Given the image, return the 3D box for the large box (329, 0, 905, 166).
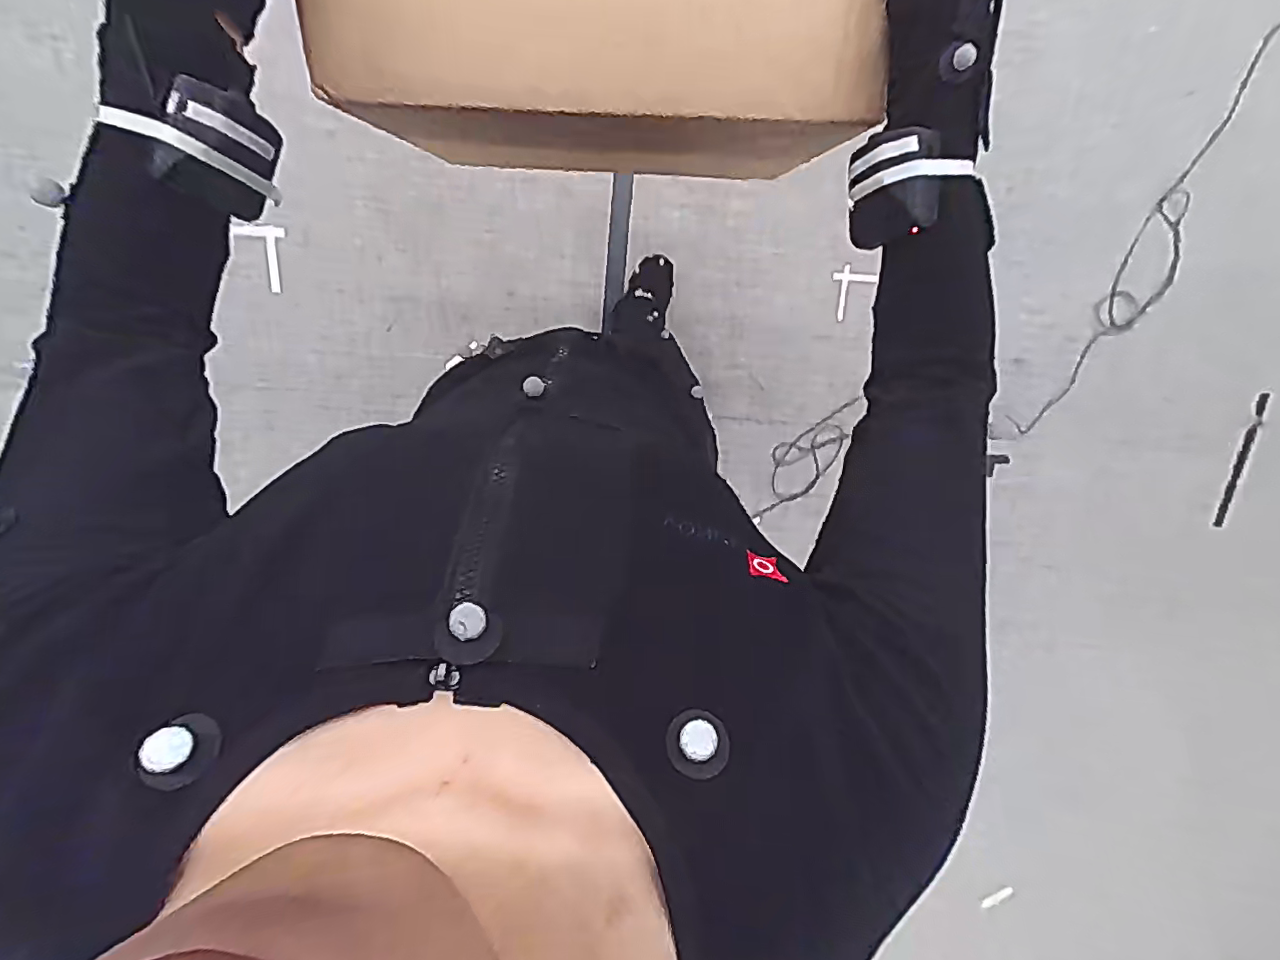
[{"bbox_3d":[-0.018,-0.473,0.471,0.408,0.320,0.320,1,113,-2],"label":"large box"}]
